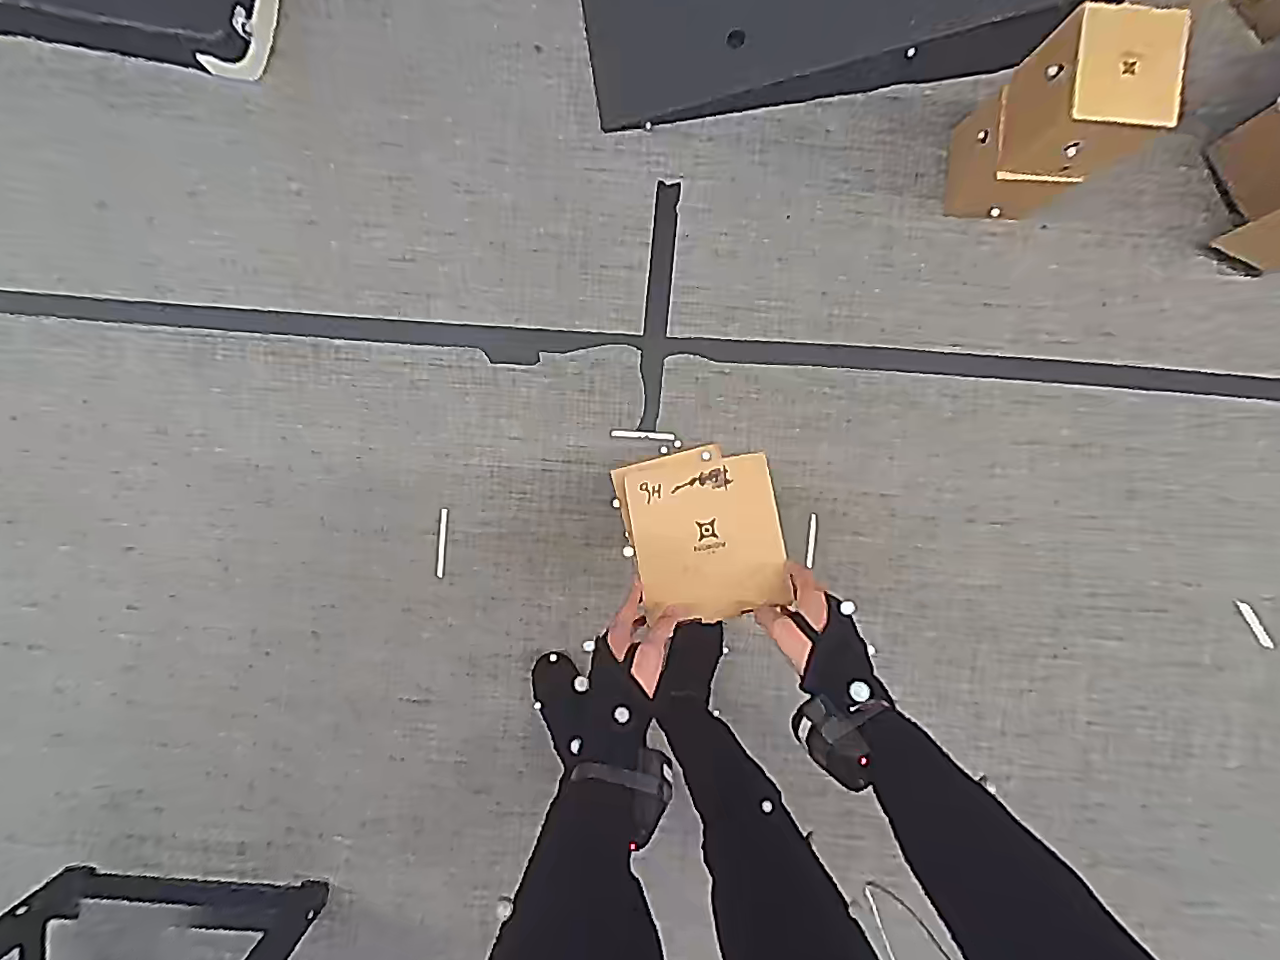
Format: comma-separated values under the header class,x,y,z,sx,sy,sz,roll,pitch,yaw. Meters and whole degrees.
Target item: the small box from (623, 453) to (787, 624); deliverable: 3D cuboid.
class,x,y,z,sx,sy,sz,roll,pitch,yaw
small box,0.074,0.072,0.689,0.168,0.176,0.179,-9,84,-1
